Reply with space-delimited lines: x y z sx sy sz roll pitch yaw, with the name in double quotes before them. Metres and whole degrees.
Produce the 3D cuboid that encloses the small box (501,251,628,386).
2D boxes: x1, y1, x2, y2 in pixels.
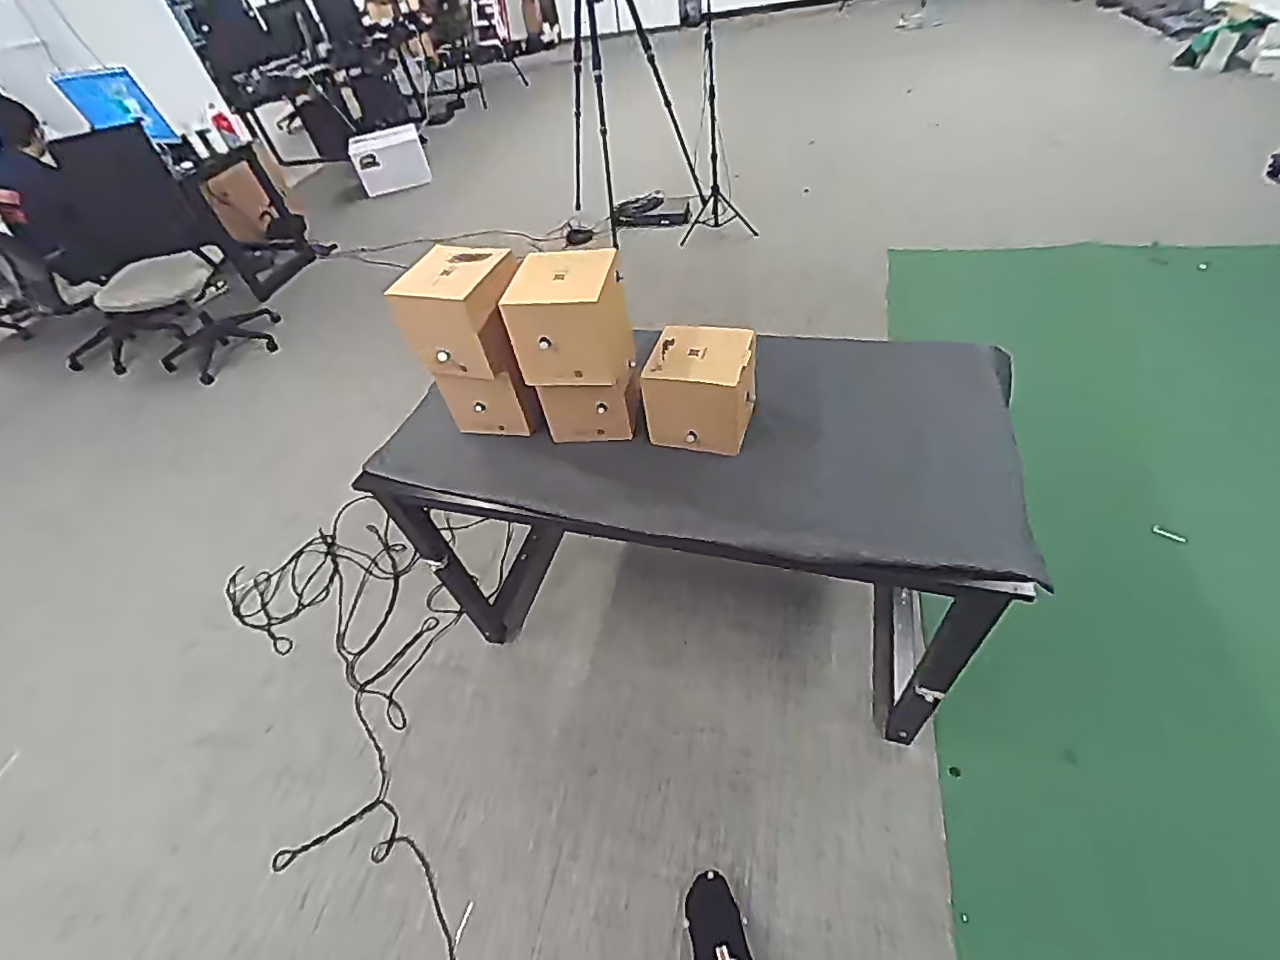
"small box" -0.120 -0.279 0.954 0.168 0.176 0.179 2 48 10
